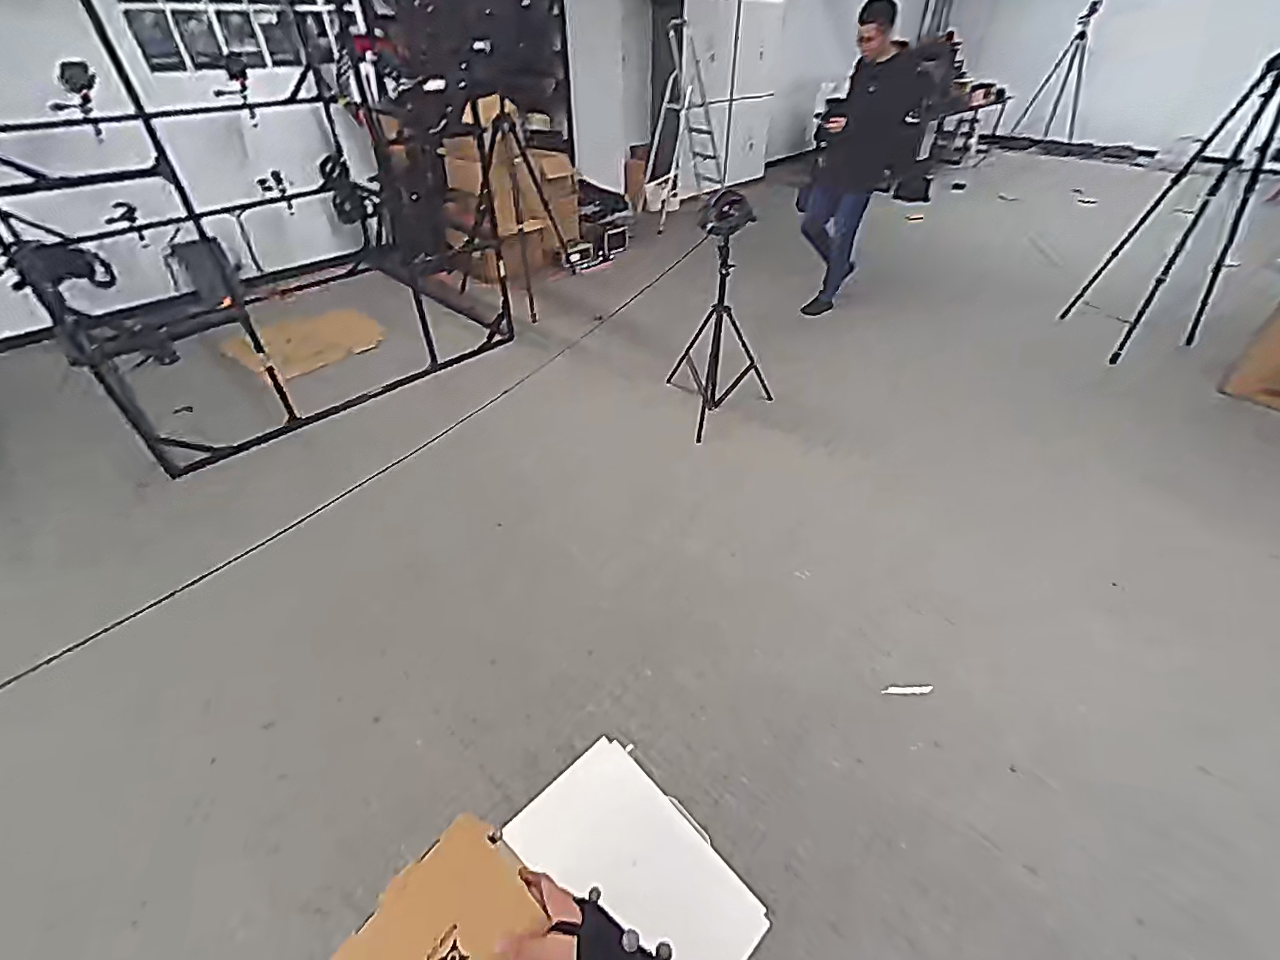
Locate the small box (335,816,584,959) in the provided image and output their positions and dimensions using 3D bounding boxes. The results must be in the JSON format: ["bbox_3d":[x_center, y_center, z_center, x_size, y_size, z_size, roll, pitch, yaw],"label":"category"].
[{"bbox_3d":[-0.180,0.512,0.591,0.179,0.176,0.168,32,58,26],"label":"small box"}]
